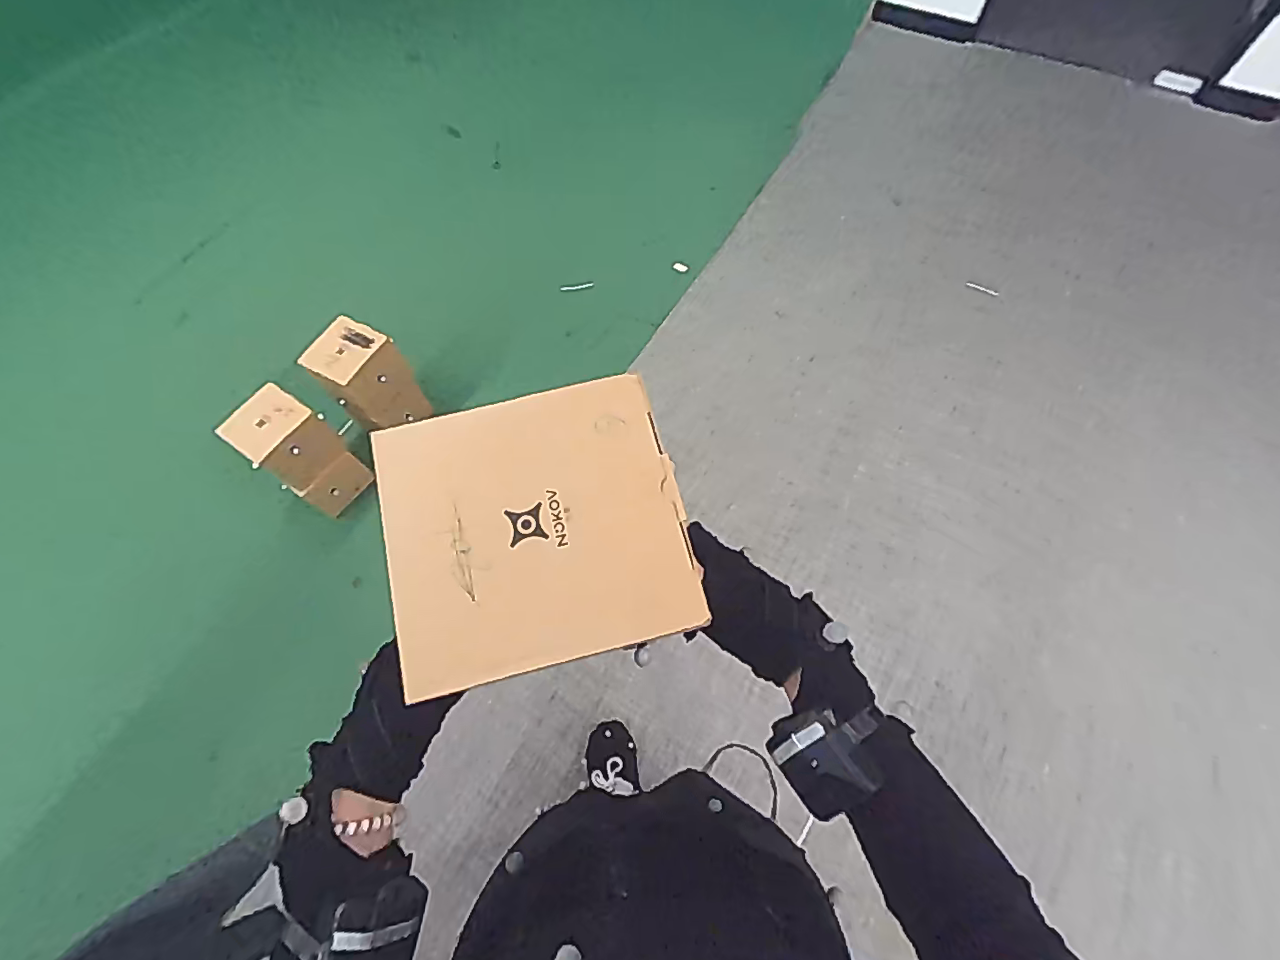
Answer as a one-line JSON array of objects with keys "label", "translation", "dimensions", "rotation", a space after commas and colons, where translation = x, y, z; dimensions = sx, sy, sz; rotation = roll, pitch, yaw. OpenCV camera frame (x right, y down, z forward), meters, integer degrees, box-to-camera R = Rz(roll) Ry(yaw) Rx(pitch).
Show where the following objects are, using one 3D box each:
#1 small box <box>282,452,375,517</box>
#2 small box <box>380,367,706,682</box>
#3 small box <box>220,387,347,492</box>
[{"label": "small box", "translation": [-0.897, -0.014, 1.536], "dimensions": [0.179, 0.176, 0.168], "rotation": [33, 70, 16]}, {"label": "small box", "translation": [-0.064, 0.042, 0.402], "dimensions": [0.179, 0.176, 0.168], "rotation": [-13, 73, -4]}, {"label": "small box", "translation": [-0.906, -0.097, 1.393], "dimensions": [0.168, 0.176, 0.179], "rotation": [32, 70, 16]}]
